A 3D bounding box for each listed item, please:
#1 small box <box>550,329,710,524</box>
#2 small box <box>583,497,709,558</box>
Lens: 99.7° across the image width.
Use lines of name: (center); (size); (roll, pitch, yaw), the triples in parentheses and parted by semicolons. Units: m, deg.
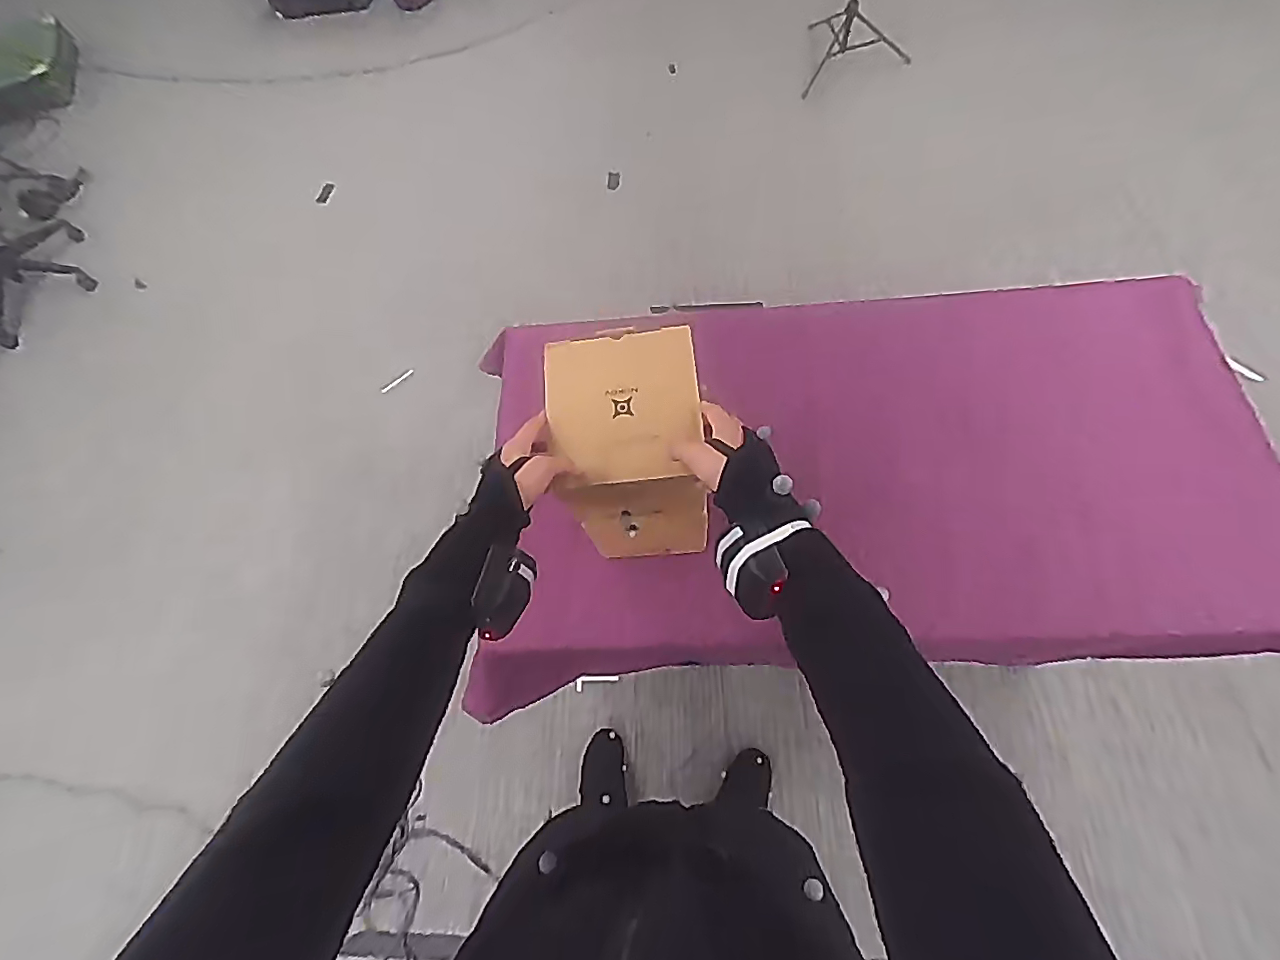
small box: (-0.009, -0.054, 0.648); (0.168, 0.176, 0.179); (-5, 72, 4)
small box: (0.012, 0.007, 0.806); (0.168, 0.176, 0.179); (-4, 66, 5)
